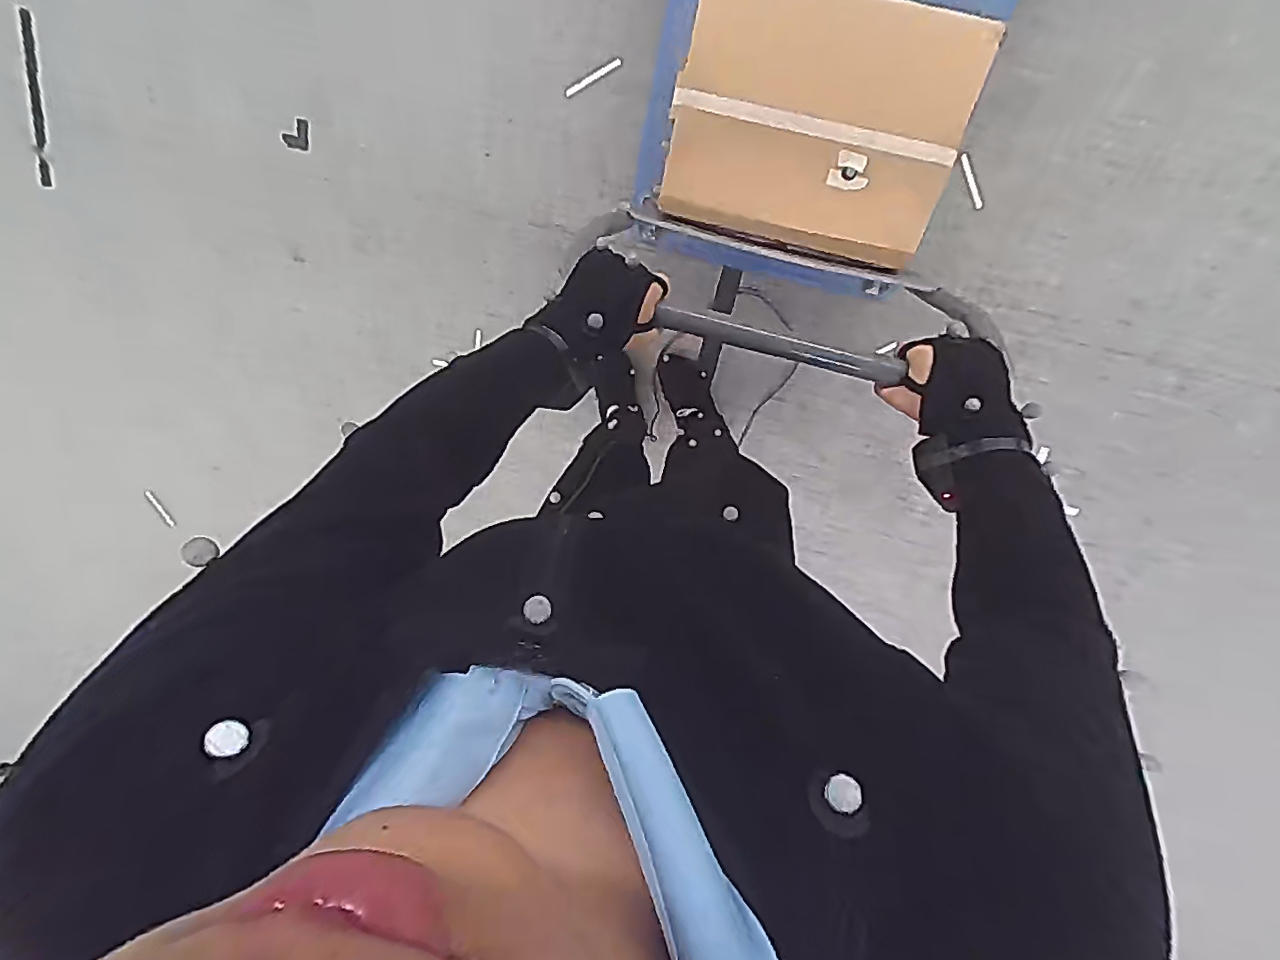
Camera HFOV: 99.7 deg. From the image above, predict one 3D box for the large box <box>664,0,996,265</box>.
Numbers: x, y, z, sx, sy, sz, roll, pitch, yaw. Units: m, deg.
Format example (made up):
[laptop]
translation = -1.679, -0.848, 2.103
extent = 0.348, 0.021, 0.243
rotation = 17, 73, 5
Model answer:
[large box]
translation = 0.275, -0.578, 0.928
extent = 0.408, 0.320, 0.320
rotation = 14, 117, 2
